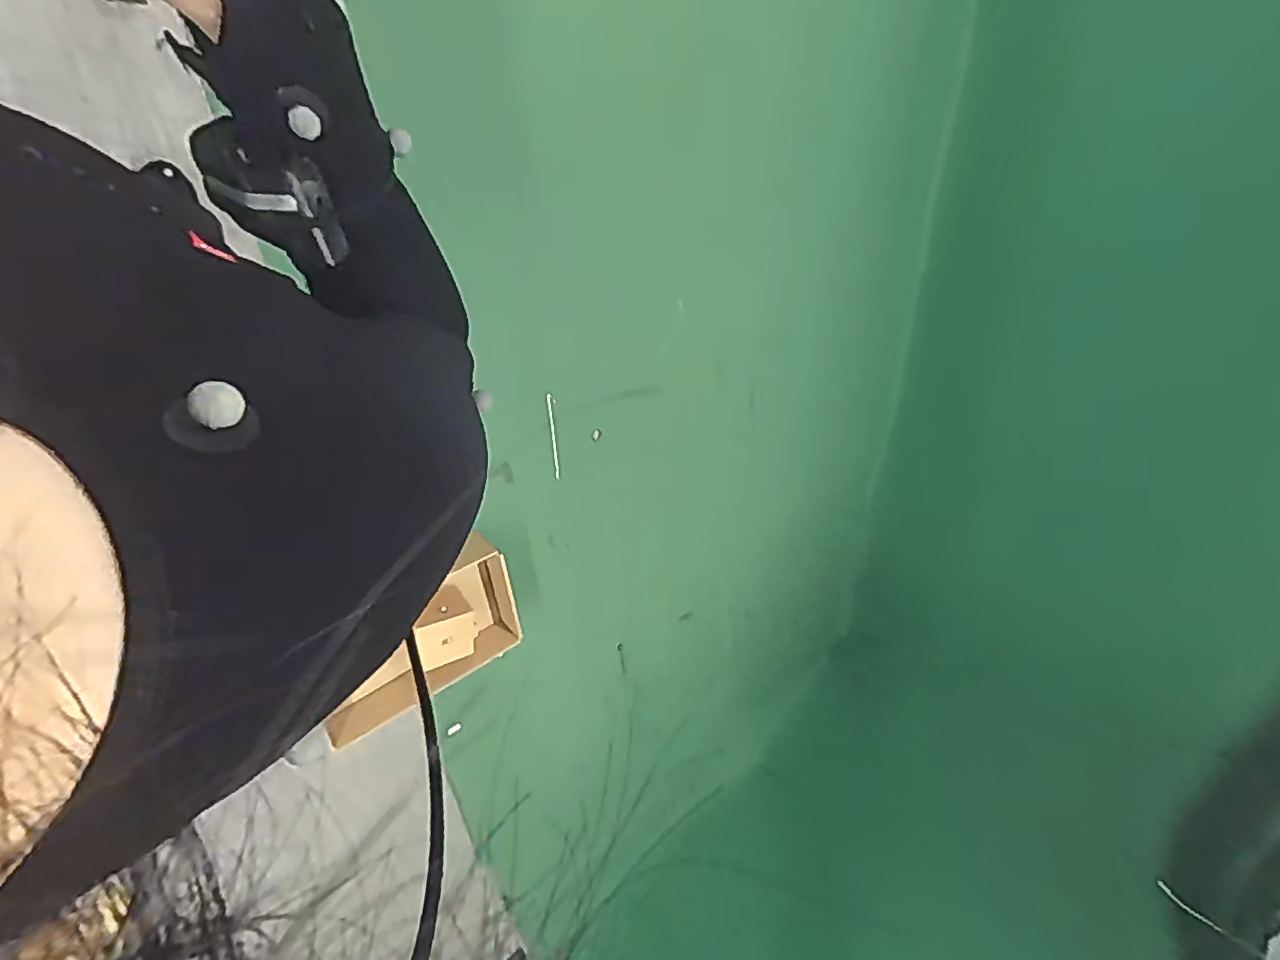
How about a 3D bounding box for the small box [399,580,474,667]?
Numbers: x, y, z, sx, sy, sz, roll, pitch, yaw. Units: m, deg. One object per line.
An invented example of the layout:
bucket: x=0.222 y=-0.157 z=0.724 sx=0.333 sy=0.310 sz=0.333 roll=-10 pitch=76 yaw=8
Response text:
small box: x=-0.628 y=0.432 z=1.661 sx=0.179 sy=0.176 sz=0.168 roll=-12 pitch=121 yaw=-38
